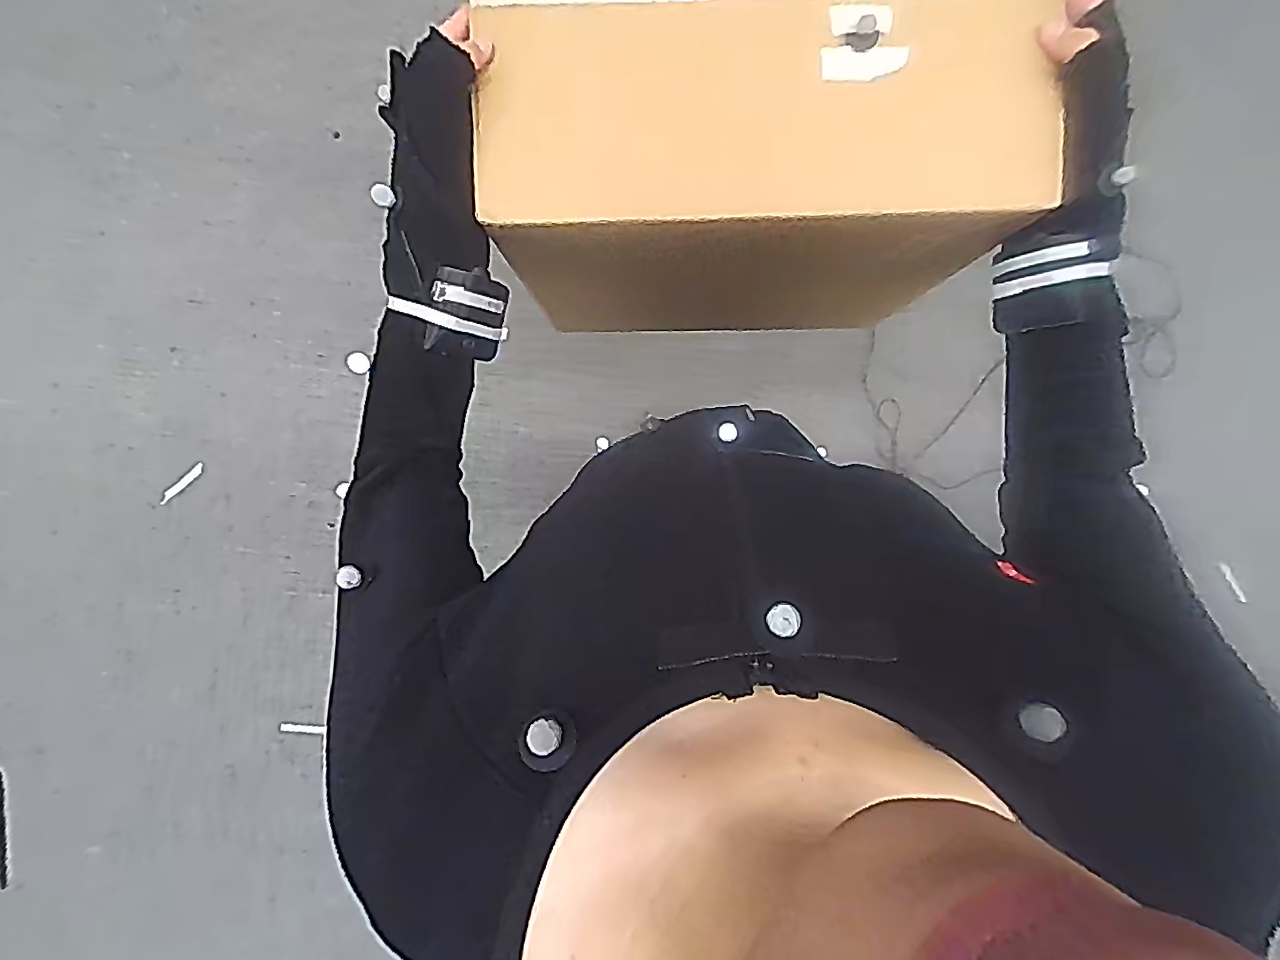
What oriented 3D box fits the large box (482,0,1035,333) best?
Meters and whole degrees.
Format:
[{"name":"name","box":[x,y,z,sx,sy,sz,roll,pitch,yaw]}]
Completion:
[{"name":"large box","box":[0.083,-0.346,0.541,0.408,0.320,0.320,-1,91,1]}]

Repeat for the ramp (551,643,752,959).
[{"name":"ramp","box":[0.030,0.981,1.503,0.509,0.206,0.991,4,96,3]}]
